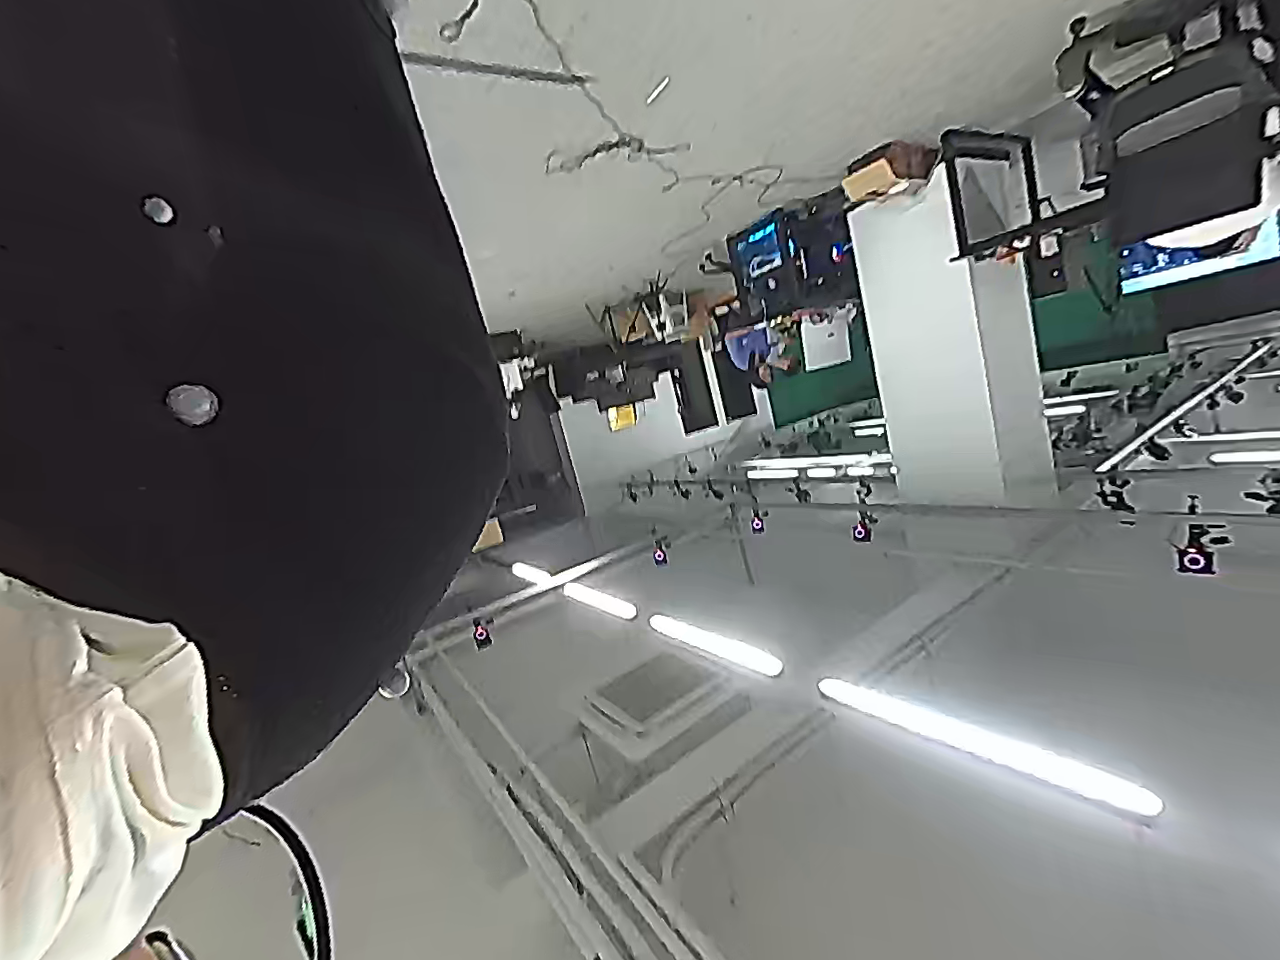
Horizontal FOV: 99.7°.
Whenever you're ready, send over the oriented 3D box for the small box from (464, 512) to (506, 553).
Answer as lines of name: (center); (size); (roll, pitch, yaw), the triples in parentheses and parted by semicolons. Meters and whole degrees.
small box: (-0.828, 0.274, 2.872); (0.168, 0.176, 0.179); (-19, -172, -22)
